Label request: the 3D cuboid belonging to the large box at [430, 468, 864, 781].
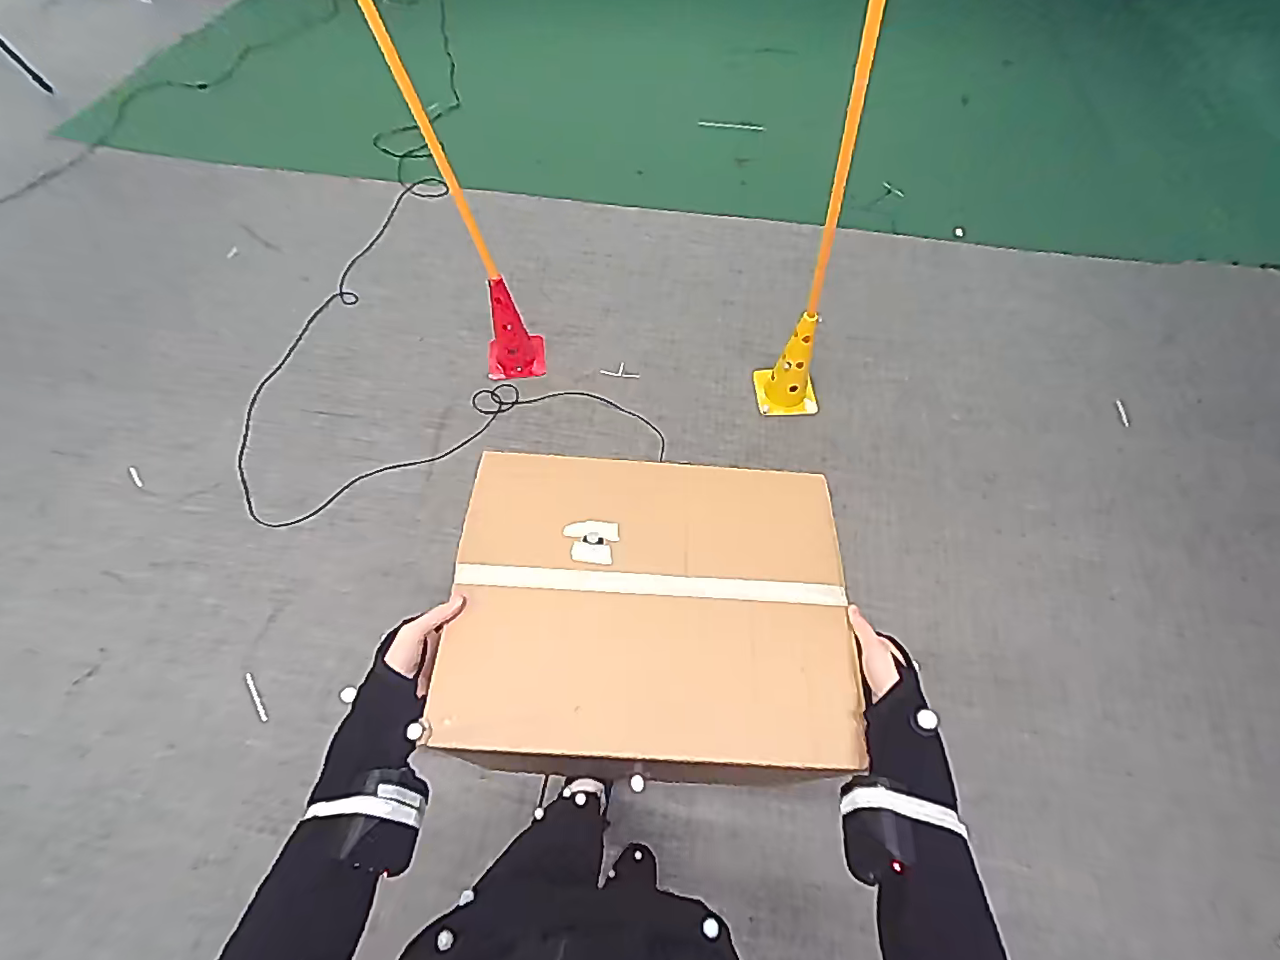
[{"bbox_3d":[0.007,0.201,0.694,0.408,0.320,0.320,3,56,-1],"label":"large box"}]
